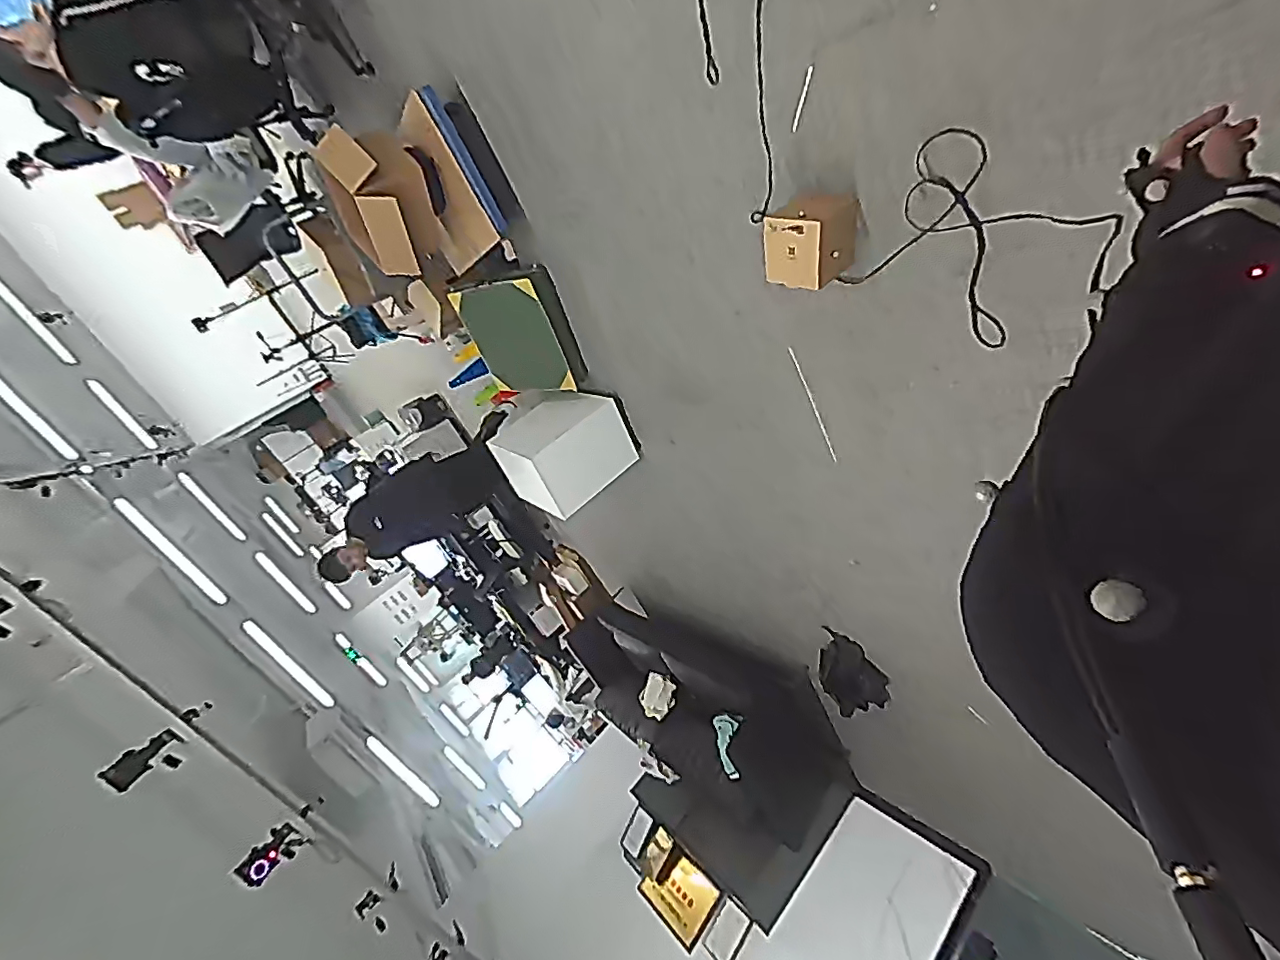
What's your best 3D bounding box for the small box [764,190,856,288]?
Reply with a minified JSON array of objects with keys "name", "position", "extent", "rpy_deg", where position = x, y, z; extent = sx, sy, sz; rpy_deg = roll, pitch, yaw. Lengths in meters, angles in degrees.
[{"name":"small box","position":[0.446,-0.634,1.418],"extent":[0.168,0.176,0.179],"rpy_deg":[29,148,38]}]
